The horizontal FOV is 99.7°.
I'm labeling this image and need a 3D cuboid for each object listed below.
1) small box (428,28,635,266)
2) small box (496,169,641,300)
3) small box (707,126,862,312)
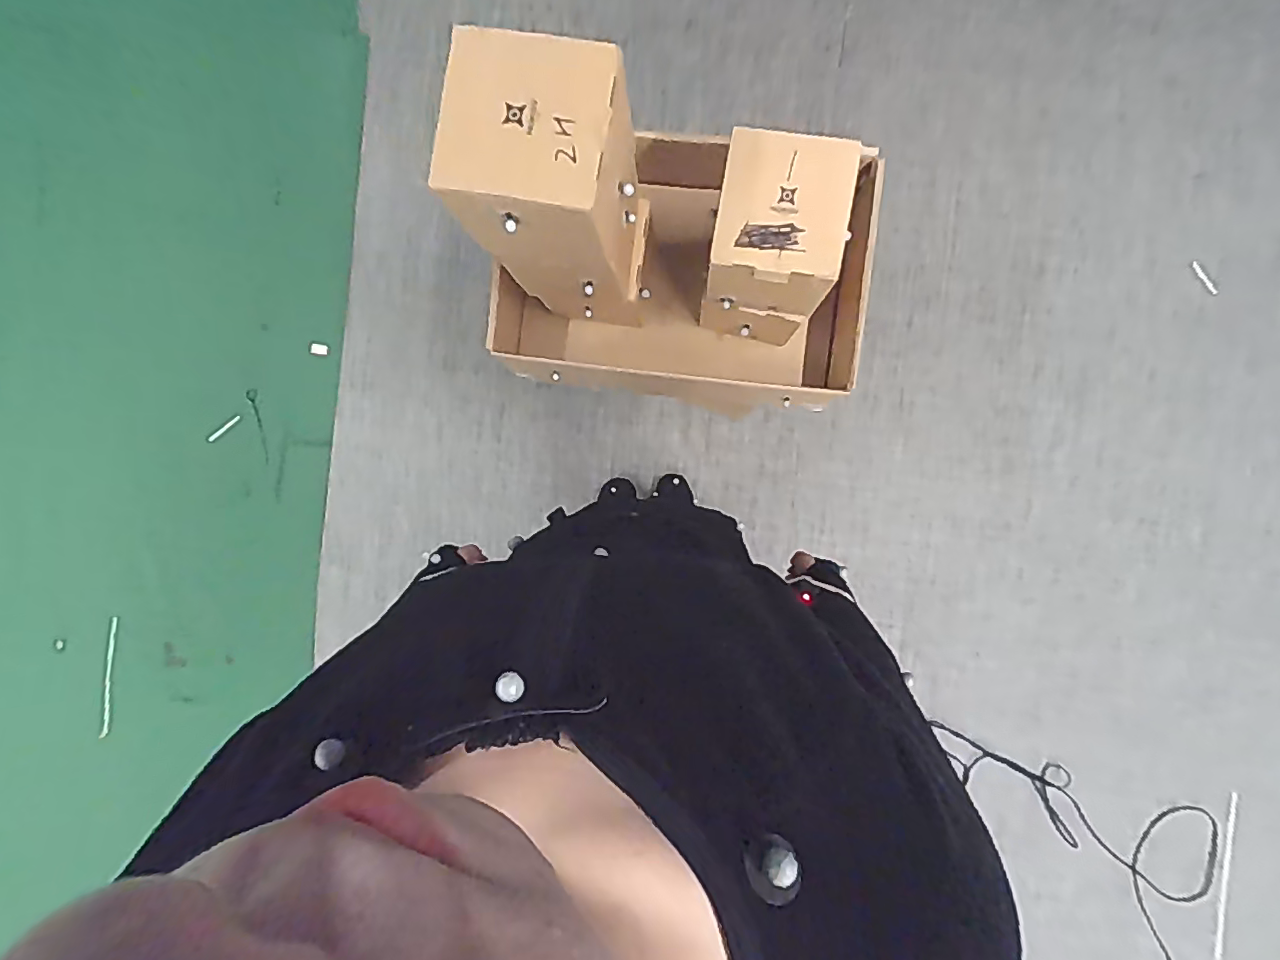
[{"bbox_3d":[-0.112,-0.367,0.626,0.179,0.176,0.168,11,93,5],"label":"small box"},{"bbox_3d":[-0.094,-0.377,0.790,0.168,0.176,0.179,8,91,5],"label":"small box"},{"bbox_3d":[0.191,-0.352,0.761,0.168,0.176,0.179,10,91,5],"label":"small box"}]
